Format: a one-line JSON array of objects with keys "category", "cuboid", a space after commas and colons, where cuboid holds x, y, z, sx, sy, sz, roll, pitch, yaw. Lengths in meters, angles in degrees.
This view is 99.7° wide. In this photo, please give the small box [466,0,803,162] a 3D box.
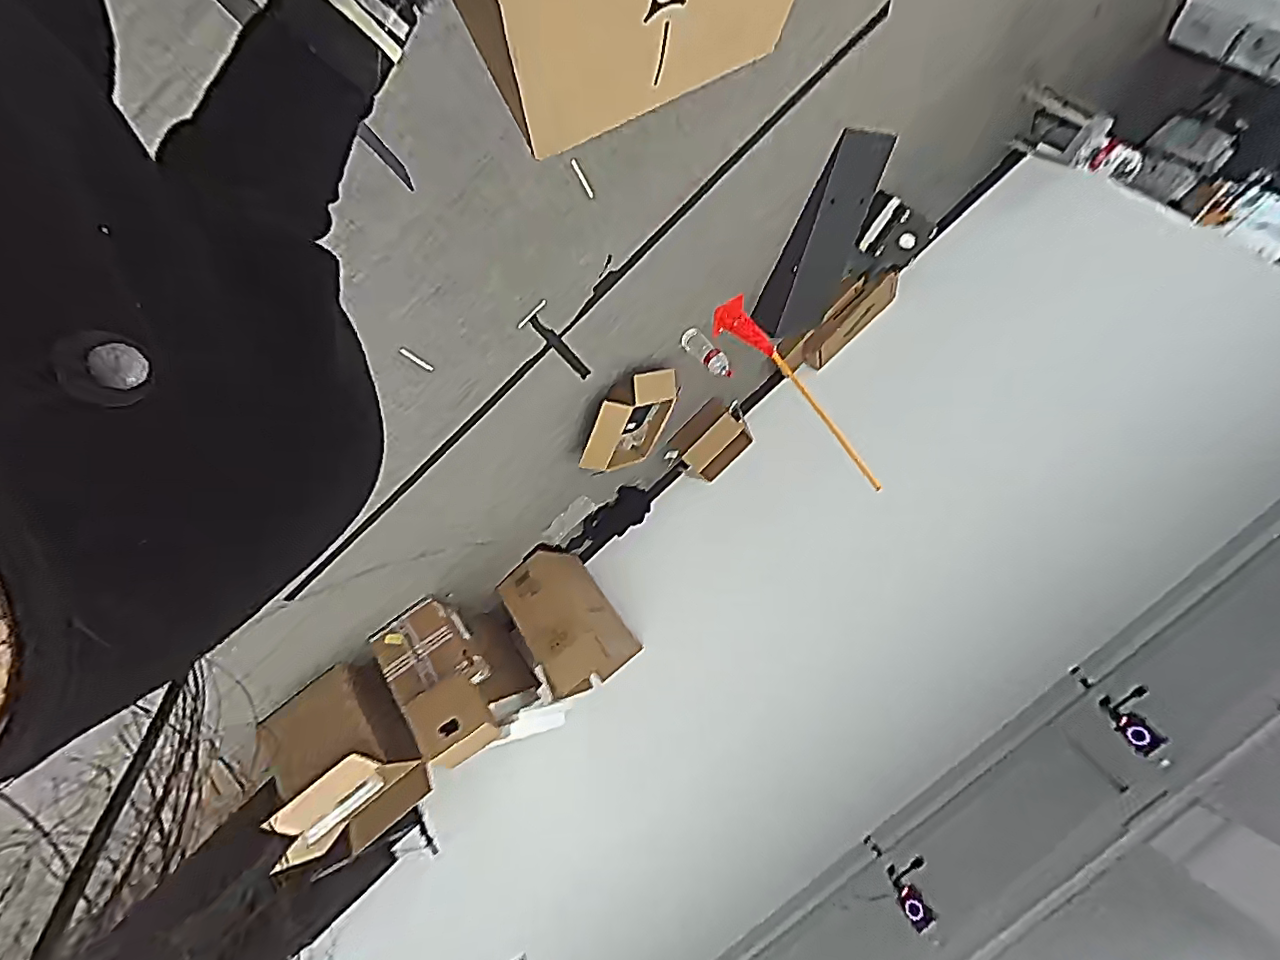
[{"category": "small box", "cuboid": [-0.017, -0.302, 0.246, 0.168, 0.176, 0.179, -27, -179, -3]}]
